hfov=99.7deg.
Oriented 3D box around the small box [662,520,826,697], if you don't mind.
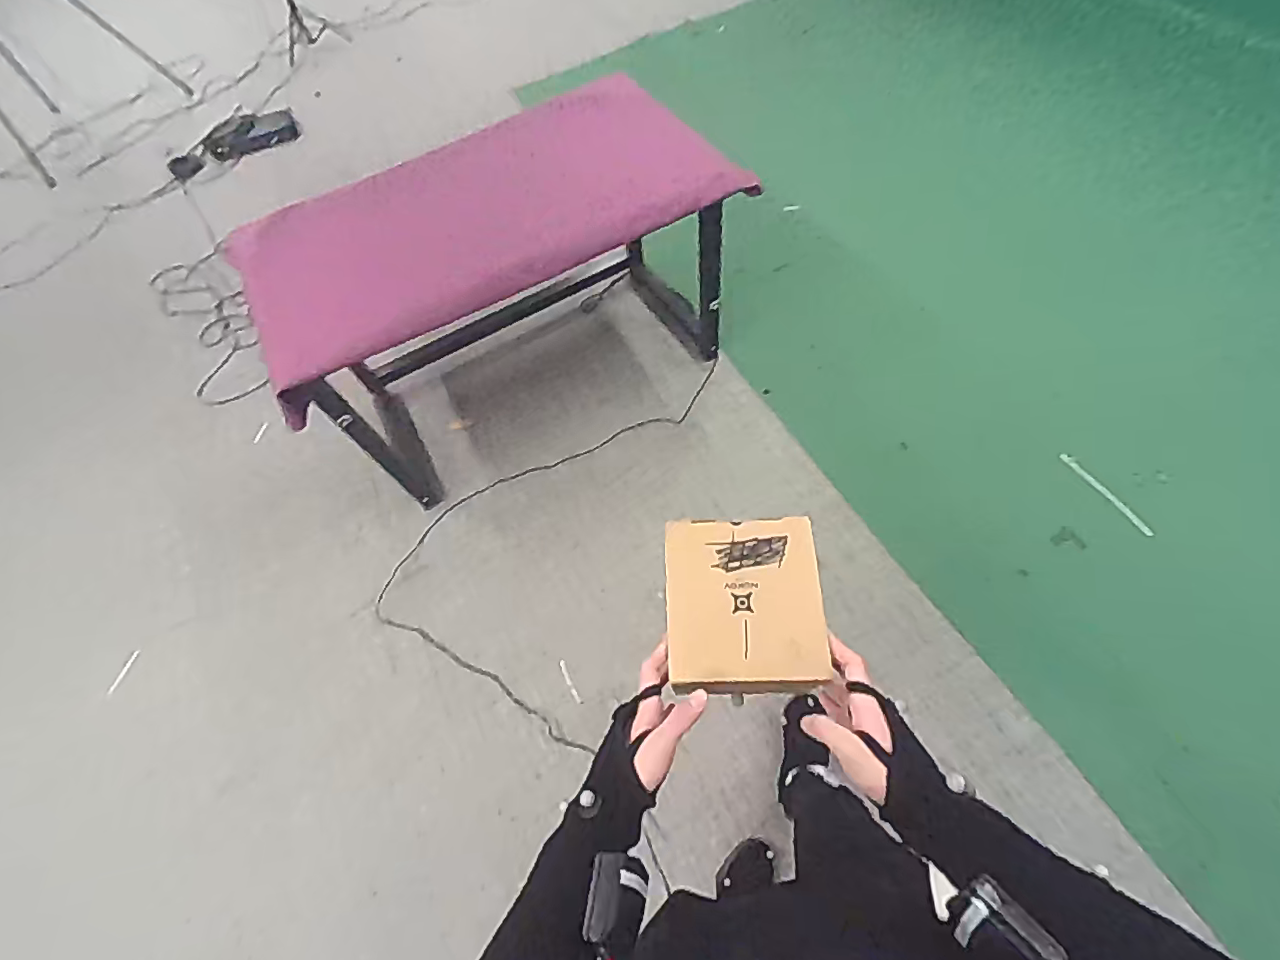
[{"bbox_3d":[0.111,0.160,0.648,0.168,0.176,0.179,-3,64,5],"label":"small box"}]
